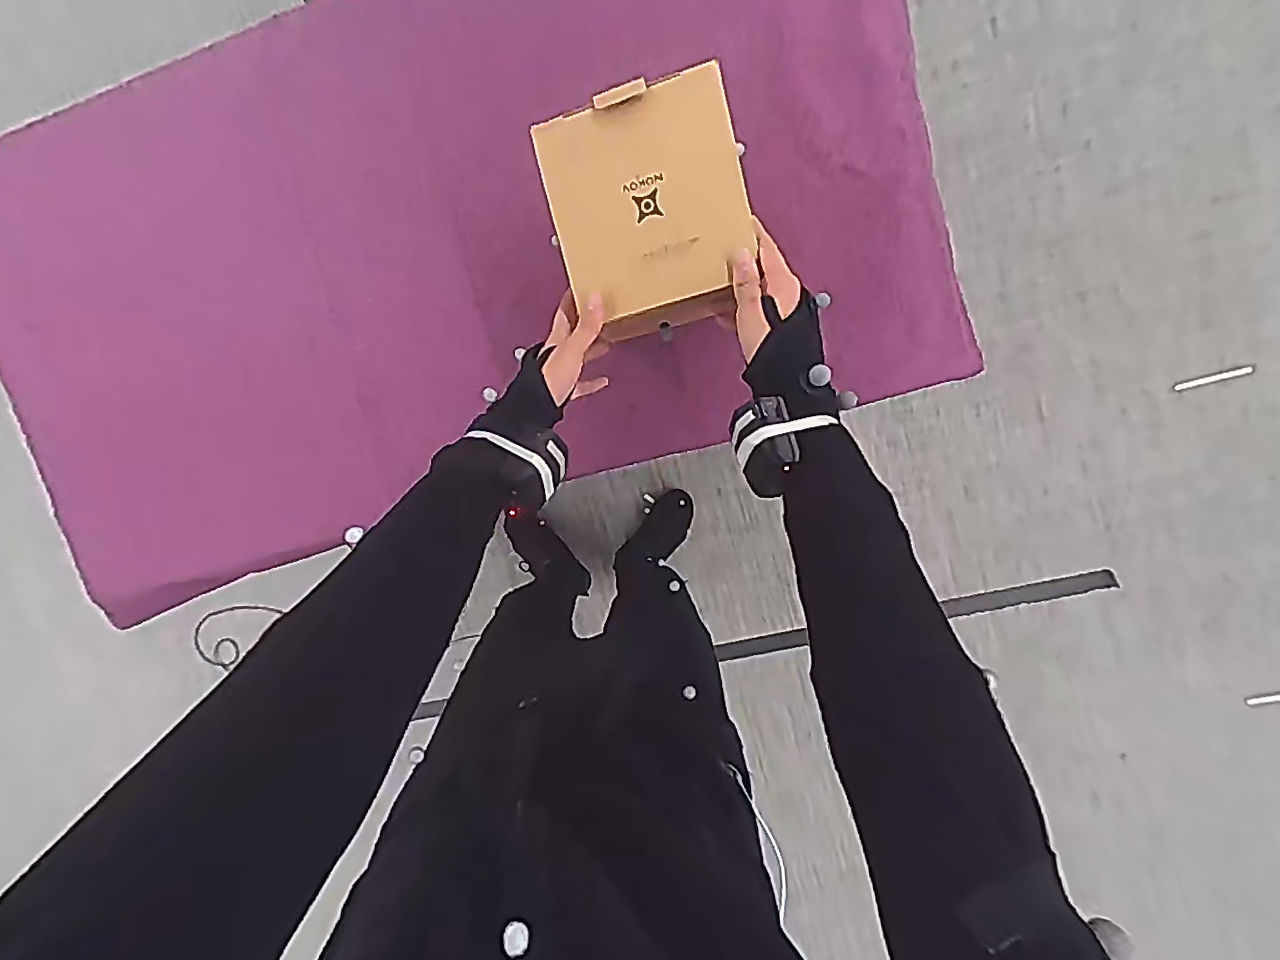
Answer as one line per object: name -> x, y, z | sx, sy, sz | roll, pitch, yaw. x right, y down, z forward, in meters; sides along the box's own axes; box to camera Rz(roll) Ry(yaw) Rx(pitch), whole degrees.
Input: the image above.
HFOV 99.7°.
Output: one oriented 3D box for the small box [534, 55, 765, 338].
small box -> 0.017, -0.250, 0.527 | 0.168, 0.176, 0.179 | -12, 98, 10
